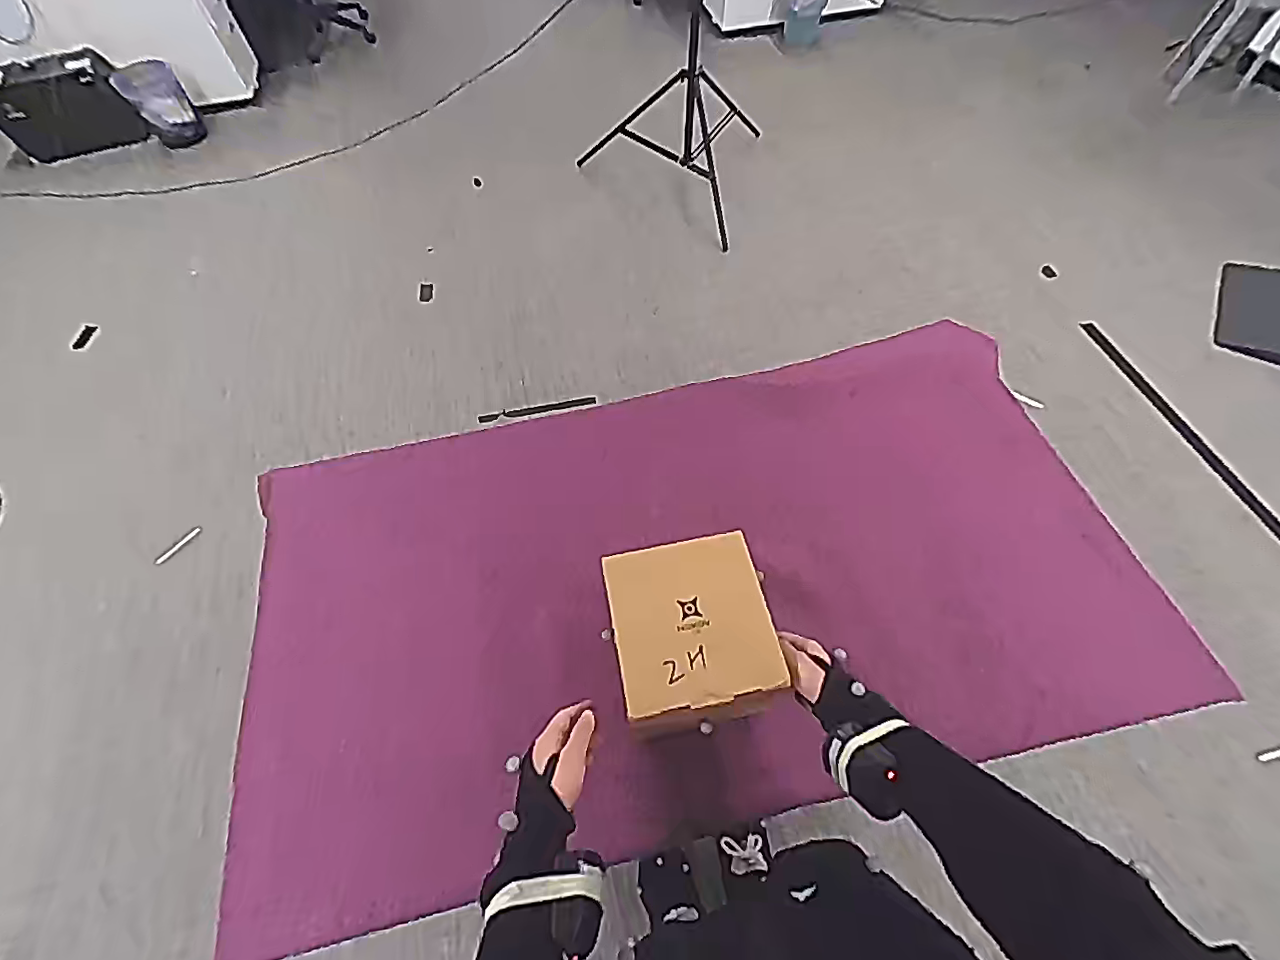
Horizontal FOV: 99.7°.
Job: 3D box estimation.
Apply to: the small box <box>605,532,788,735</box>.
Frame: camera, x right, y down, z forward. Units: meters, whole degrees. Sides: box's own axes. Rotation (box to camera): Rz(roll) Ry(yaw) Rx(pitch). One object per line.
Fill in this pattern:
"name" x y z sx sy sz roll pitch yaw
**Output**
"small box" 0.056 0.187 0.644 0.168 0.176 0.179 -11 59 -4
